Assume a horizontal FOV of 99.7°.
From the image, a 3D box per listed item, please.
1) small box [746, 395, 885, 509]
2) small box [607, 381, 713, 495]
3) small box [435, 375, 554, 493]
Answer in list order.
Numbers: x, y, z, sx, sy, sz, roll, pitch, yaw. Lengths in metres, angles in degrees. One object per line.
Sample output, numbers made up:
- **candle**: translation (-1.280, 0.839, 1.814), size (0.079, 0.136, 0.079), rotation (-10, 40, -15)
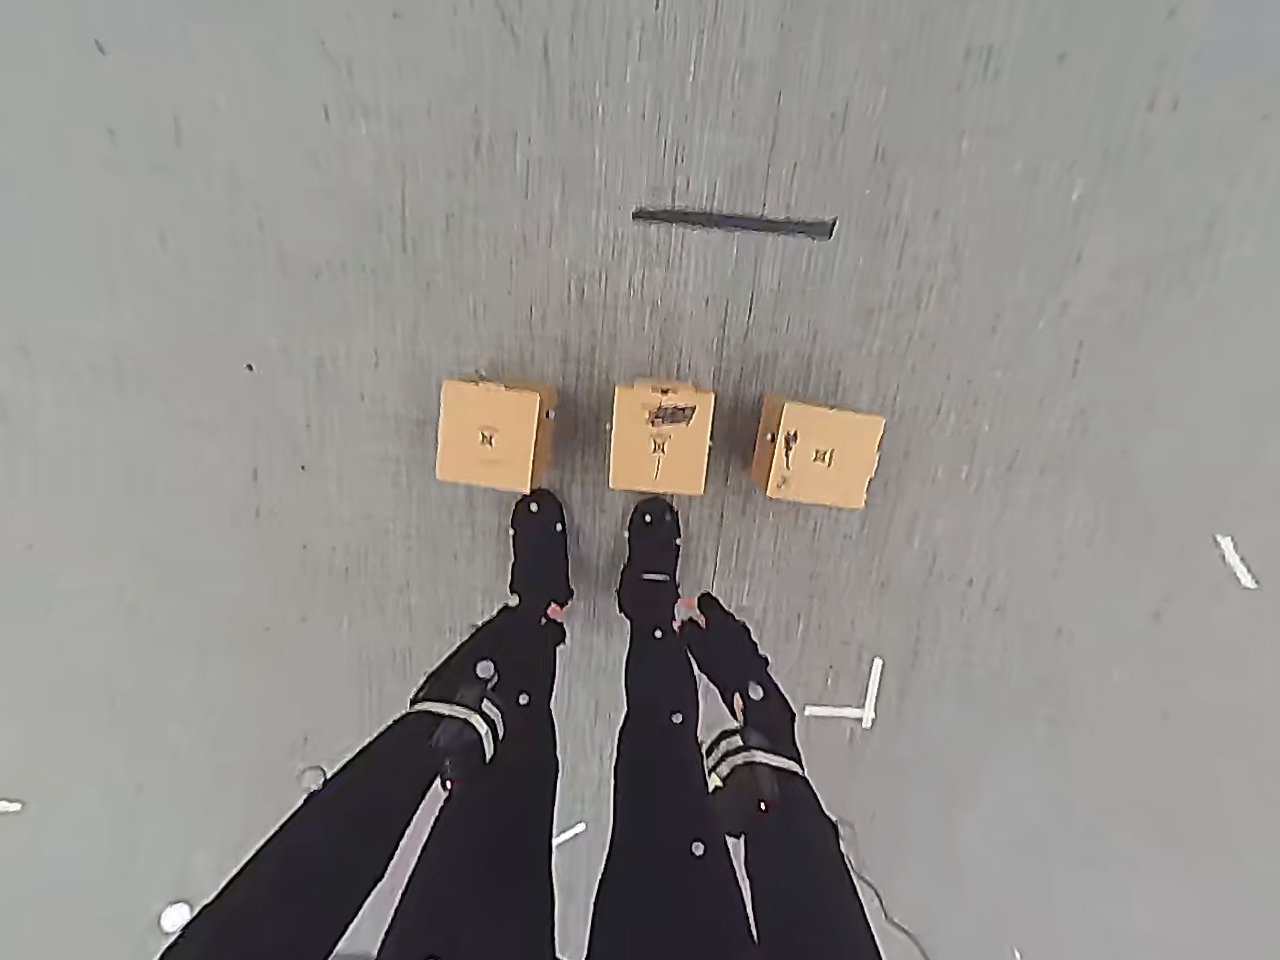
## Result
- **small box**: translation (0.307, -0.059, 0.986), size (0.179, 0.176, 0.168), rotation (8, 104, -3)
- **small box**: translation (0.031, -0.084, 0.979), size (0.168, 0.176, 0.179), rotation (4, 104, -1)
- **small box**: translation (-0.256, -0.091, 0.981), size (0.168, 0.176, 0.179), rotation (8, 105, 0)
